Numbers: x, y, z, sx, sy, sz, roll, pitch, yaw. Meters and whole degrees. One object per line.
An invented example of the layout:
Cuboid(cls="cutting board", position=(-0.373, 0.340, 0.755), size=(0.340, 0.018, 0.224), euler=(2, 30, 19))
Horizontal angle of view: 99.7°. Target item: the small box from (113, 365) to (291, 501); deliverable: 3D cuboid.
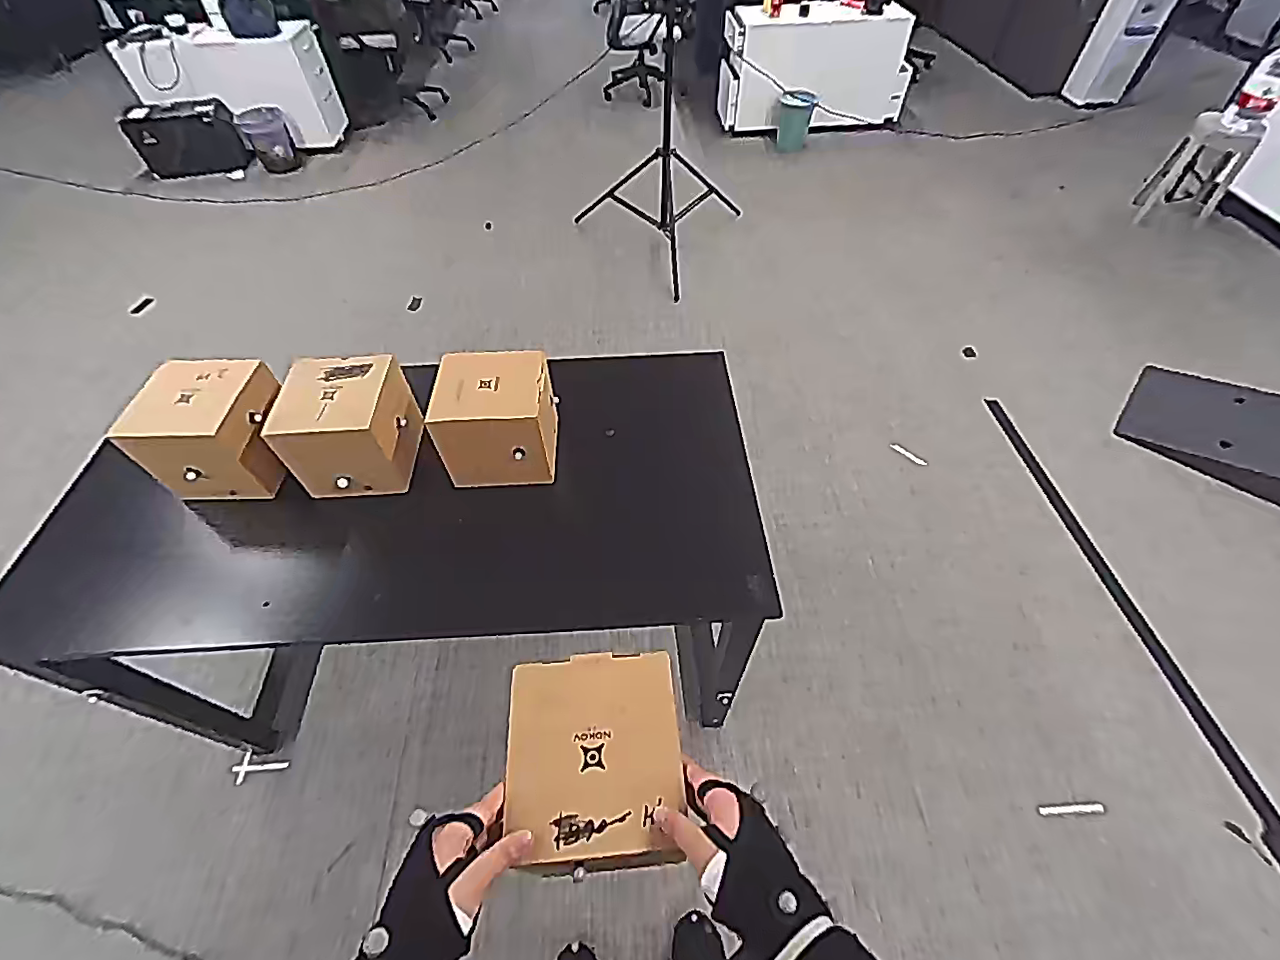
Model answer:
Cuboid(cls="small box", position=(-0.717, -0.076, 0.930), size=(0.168, 0.176, 0.179), euler=(0, 52, 0))

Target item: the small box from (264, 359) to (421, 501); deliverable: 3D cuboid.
Cuboid(cls="small box", position=(-0.493, -0.084, 0.930), size=(0.168, 0.176, 0.179), euler=(-4, 53, -2))

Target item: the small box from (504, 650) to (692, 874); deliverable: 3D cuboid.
Cuboid(cls="small box", position=(-0.040, 0.303, 0.578), size=(0.168, 0.176, 0.179), euler=(-6, 52, -1))

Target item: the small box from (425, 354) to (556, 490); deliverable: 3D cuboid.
Cuboid(cls="small box", position=(-0.245, -0.098, 0.939), size=(0.179, 0.176, 0.168), euler=(-4, 51, -1))
